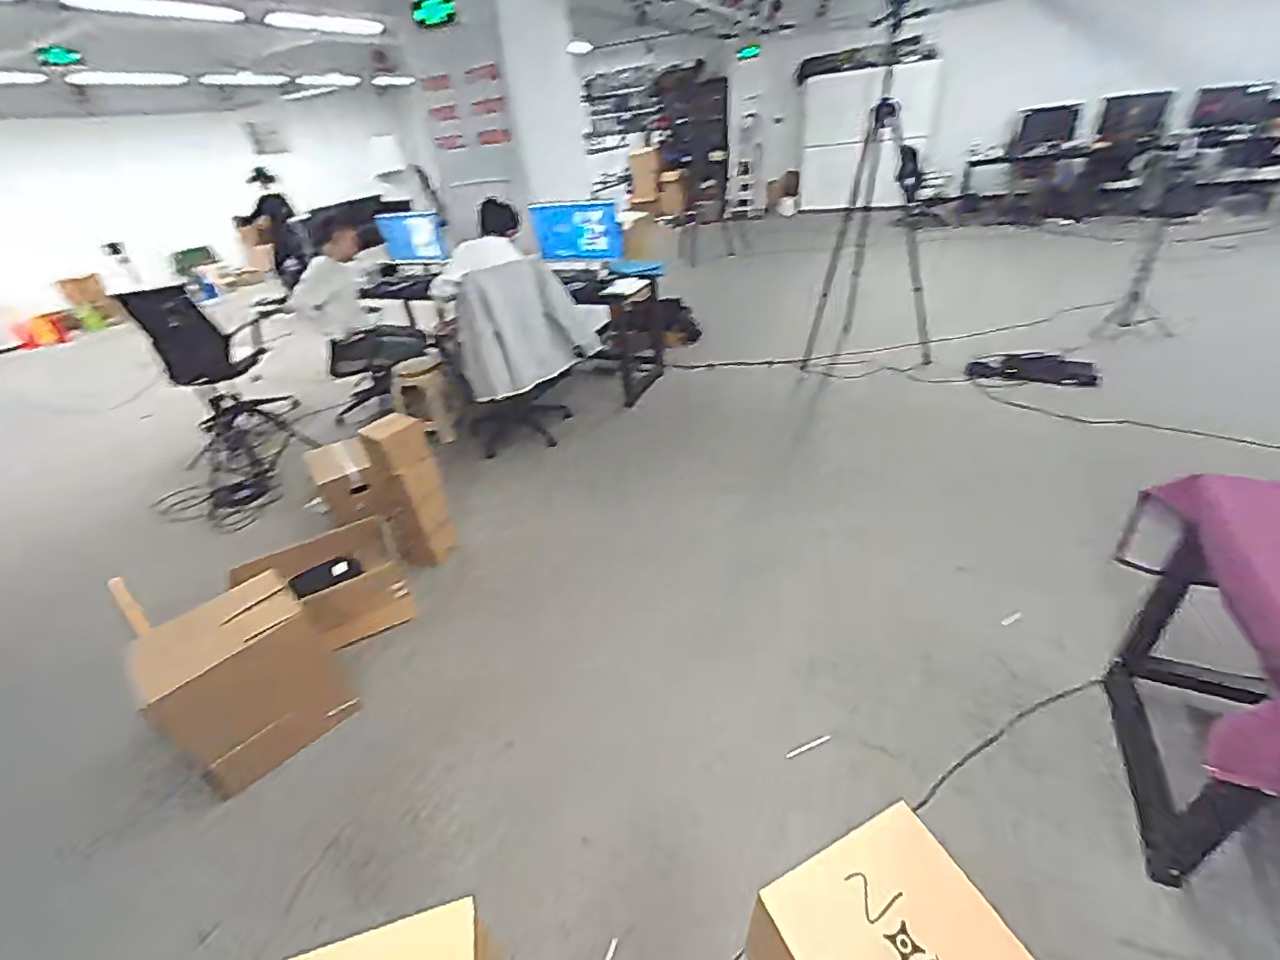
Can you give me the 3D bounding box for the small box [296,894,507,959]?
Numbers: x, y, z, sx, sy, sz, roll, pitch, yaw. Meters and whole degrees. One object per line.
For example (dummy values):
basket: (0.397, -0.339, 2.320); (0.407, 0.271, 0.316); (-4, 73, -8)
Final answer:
small box: (-0.193, 0.504, 0.448); (0.168, 0.176, 0.179); (-11, 30, -12)
